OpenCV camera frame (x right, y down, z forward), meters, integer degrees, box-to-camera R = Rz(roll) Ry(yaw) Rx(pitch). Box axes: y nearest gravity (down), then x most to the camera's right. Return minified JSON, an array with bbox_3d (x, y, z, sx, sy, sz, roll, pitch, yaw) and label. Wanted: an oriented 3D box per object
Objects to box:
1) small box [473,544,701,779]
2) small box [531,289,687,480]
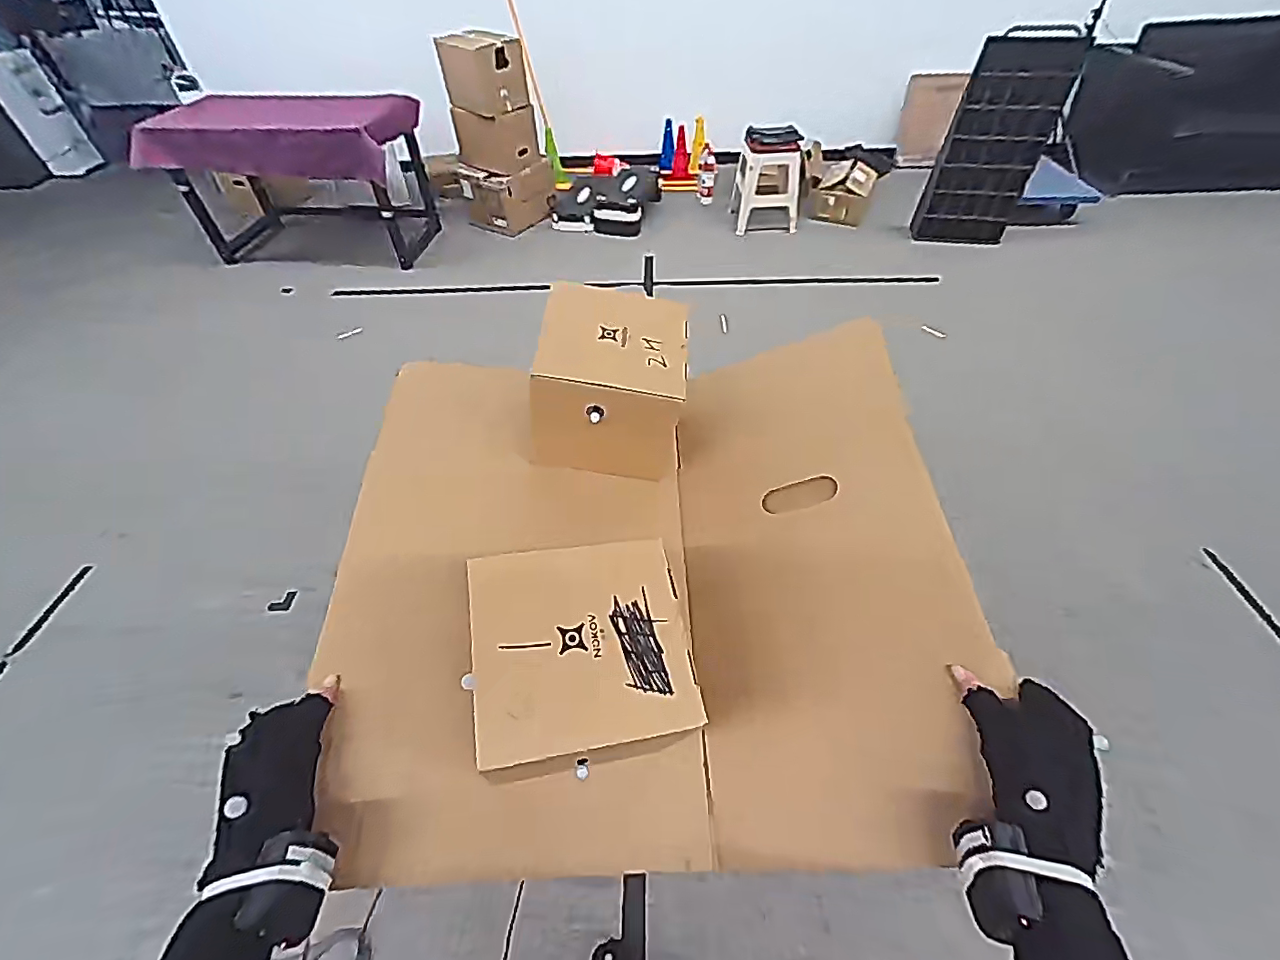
[{"bbox_3d":[-0.062,0.176,0.517,0.179,0.176,0.168,-4,59,-14],"label":"small box"},{"bbox_3d":[-0.044,-0.118,0.712,0.179,0.176,0.168,9,56,-6],"label":"small box"}]
